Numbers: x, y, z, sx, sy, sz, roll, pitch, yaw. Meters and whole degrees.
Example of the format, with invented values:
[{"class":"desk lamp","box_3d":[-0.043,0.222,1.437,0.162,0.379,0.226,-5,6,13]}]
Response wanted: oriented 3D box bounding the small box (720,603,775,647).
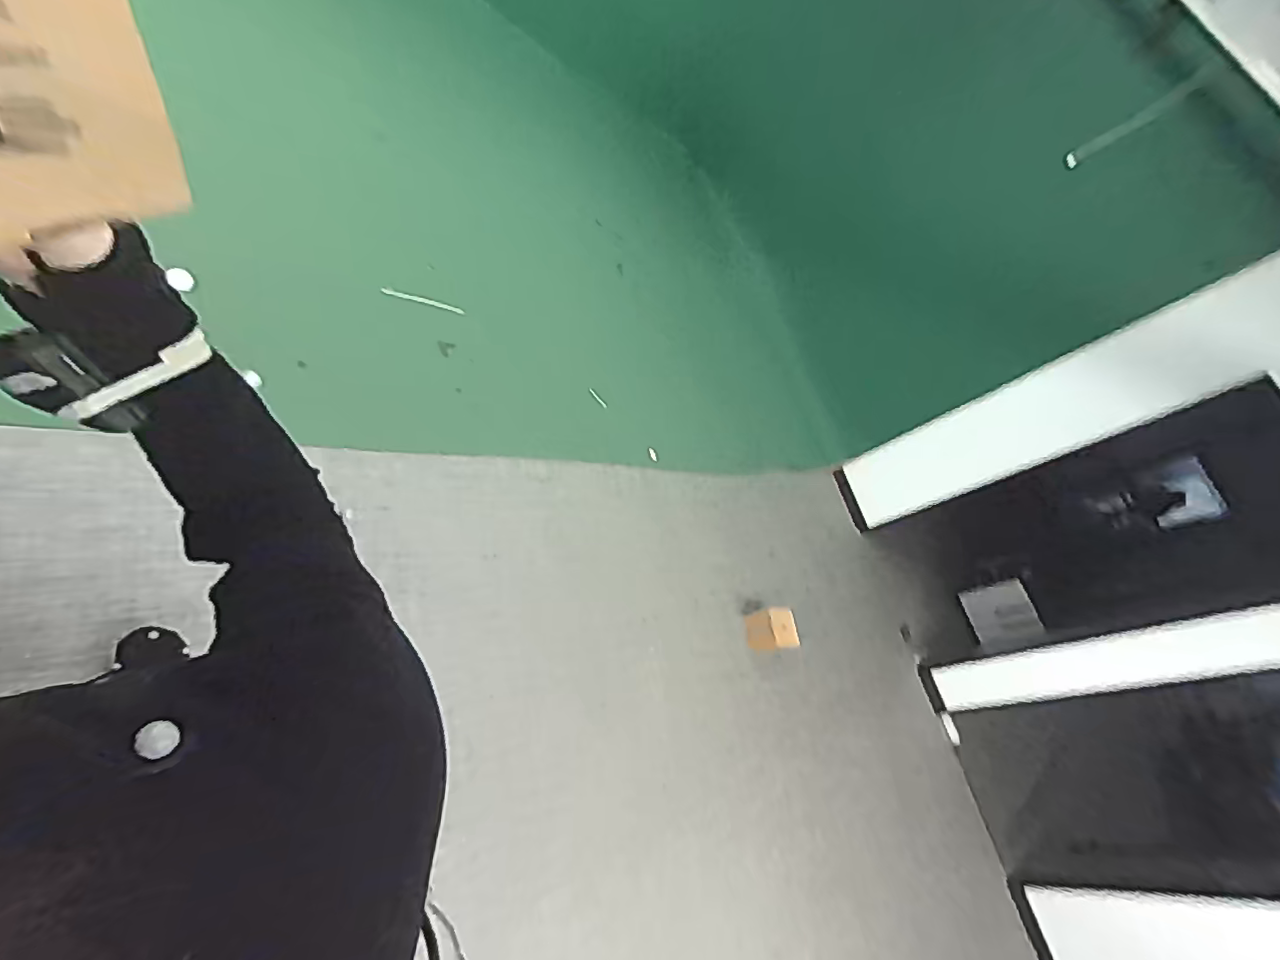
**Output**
[{"class":"small box","box_3d":[0.499,0.678,2.519,0.179,0.176,0.168,15,55,-40]}]
